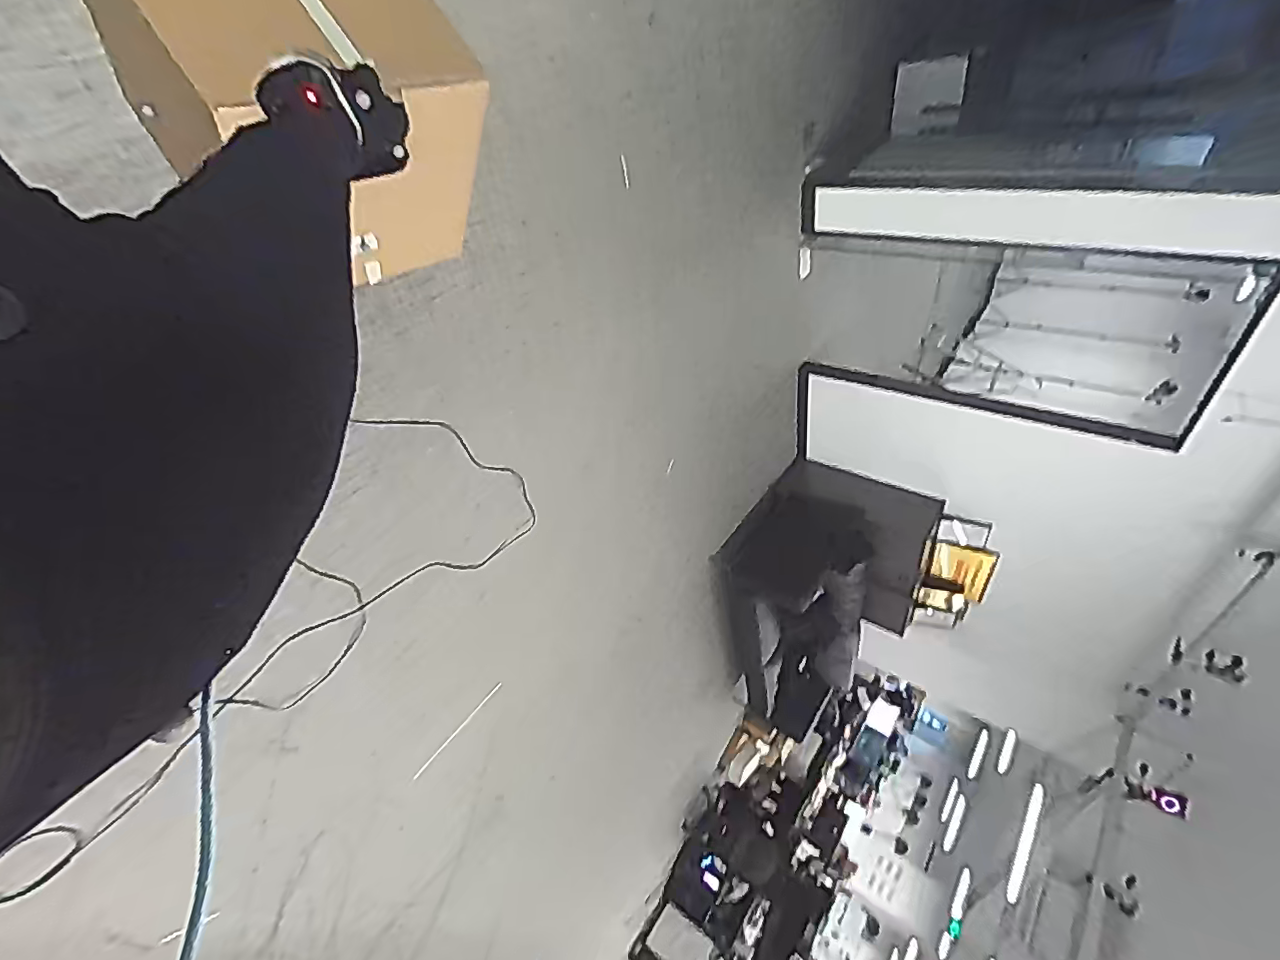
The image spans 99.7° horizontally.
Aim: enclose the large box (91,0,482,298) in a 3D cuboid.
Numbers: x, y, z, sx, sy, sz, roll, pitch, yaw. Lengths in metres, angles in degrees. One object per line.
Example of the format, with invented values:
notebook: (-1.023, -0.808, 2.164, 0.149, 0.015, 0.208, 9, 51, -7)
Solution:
large box: (-0.476, -0.539, 0.744, 0.320, 0.408, 0.320, -34, 175, -32)
